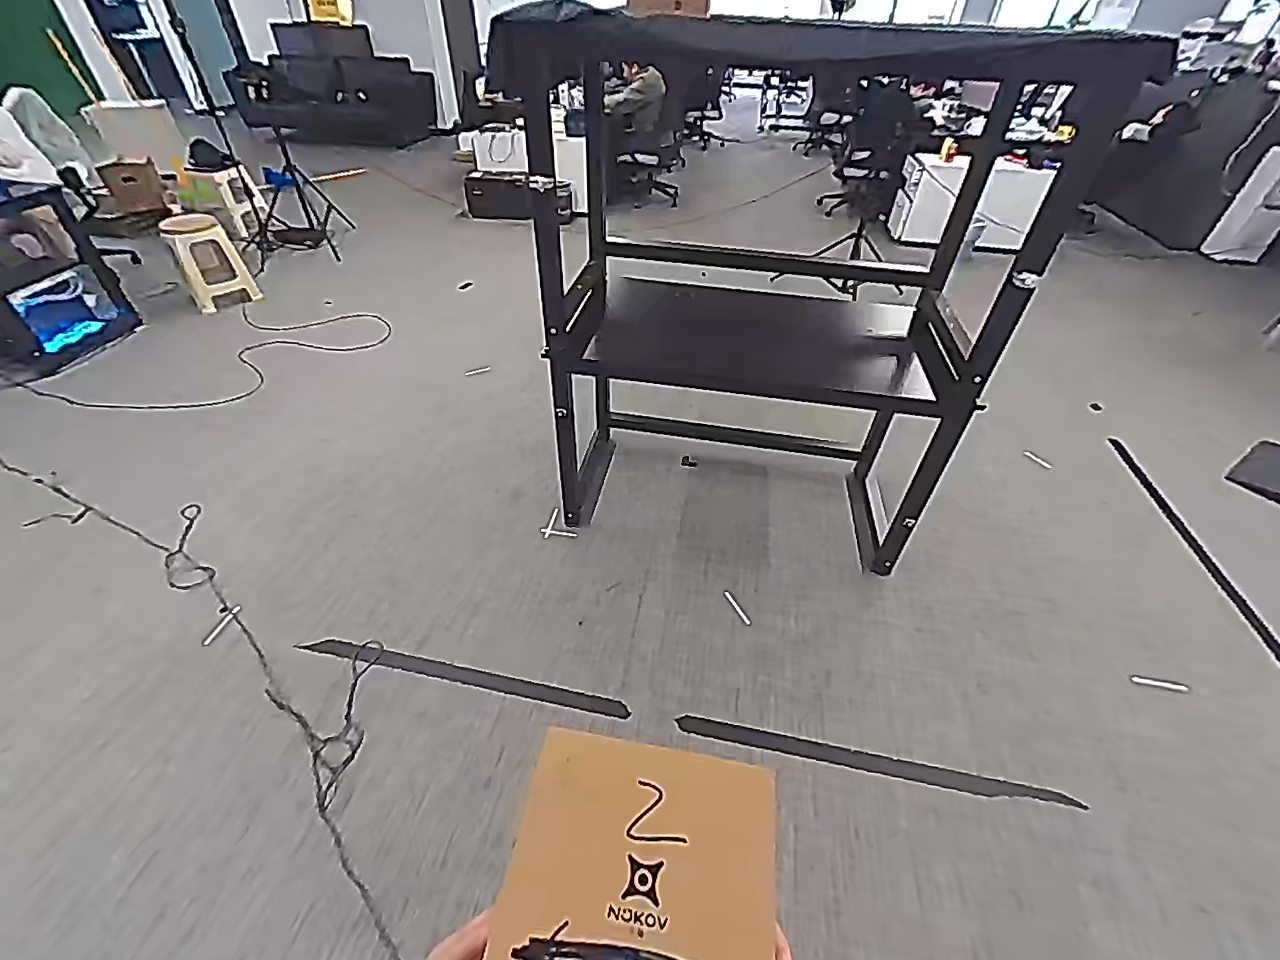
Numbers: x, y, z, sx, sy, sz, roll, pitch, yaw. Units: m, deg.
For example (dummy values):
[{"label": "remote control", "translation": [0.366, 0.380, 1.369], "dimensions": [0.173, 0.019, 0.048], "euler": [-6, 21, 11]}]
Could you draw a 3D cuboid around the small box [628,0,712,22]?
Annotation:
[{"label": "small box", "translation": [0.066, -1.028, 1.080], "dimensions": [0.168, 0.176, 0.179], "euler": [6, 41, 3]}]
